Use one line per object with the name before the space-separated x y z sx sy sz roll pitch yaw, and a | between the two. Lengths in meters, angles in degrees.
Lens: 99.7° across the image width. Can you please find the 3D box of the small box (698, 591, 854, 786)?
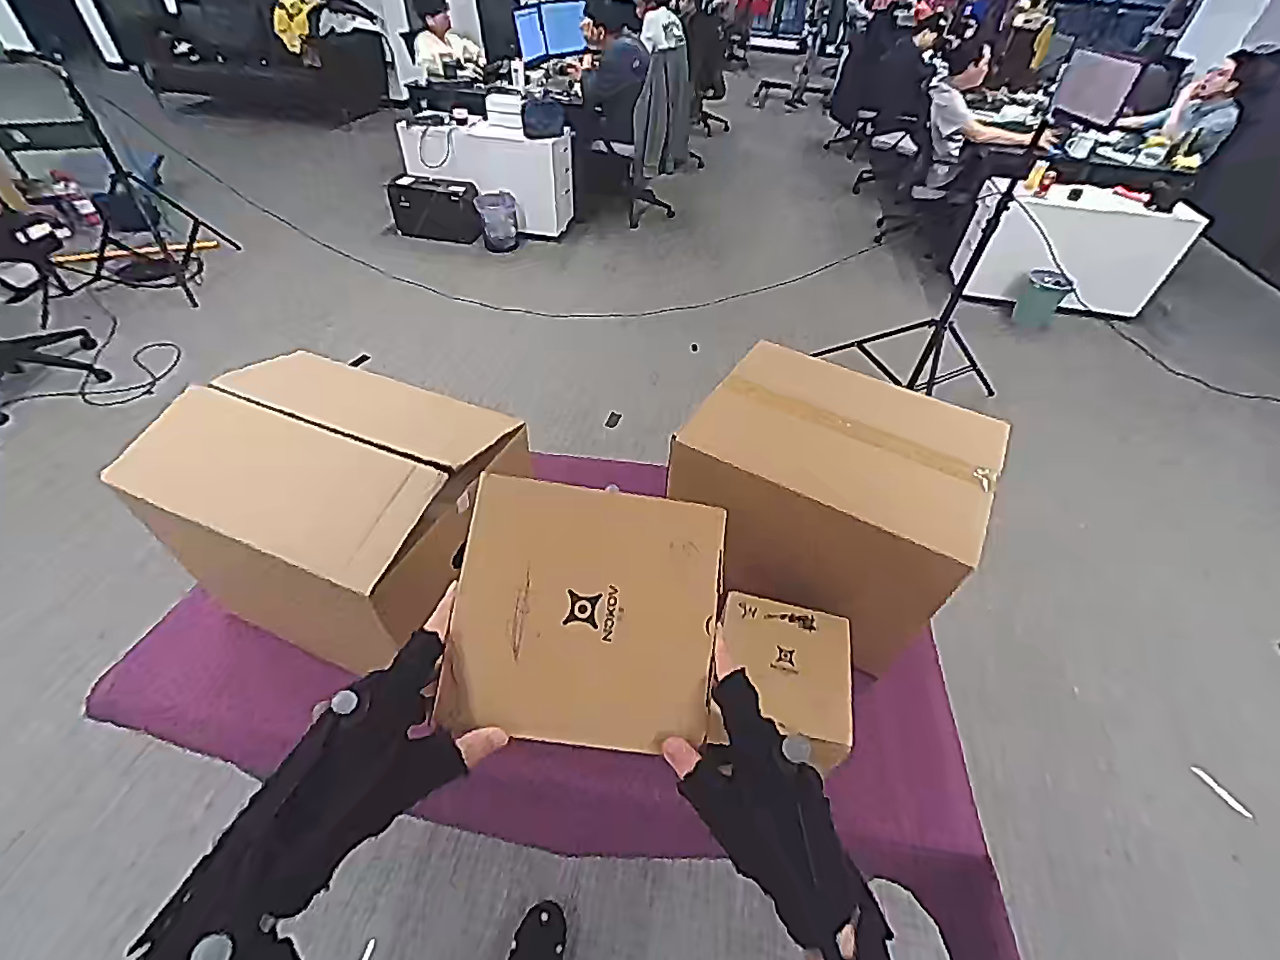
small box | 0.177 0.283 0.728 0.168 0.176 0.179 12 45 7
